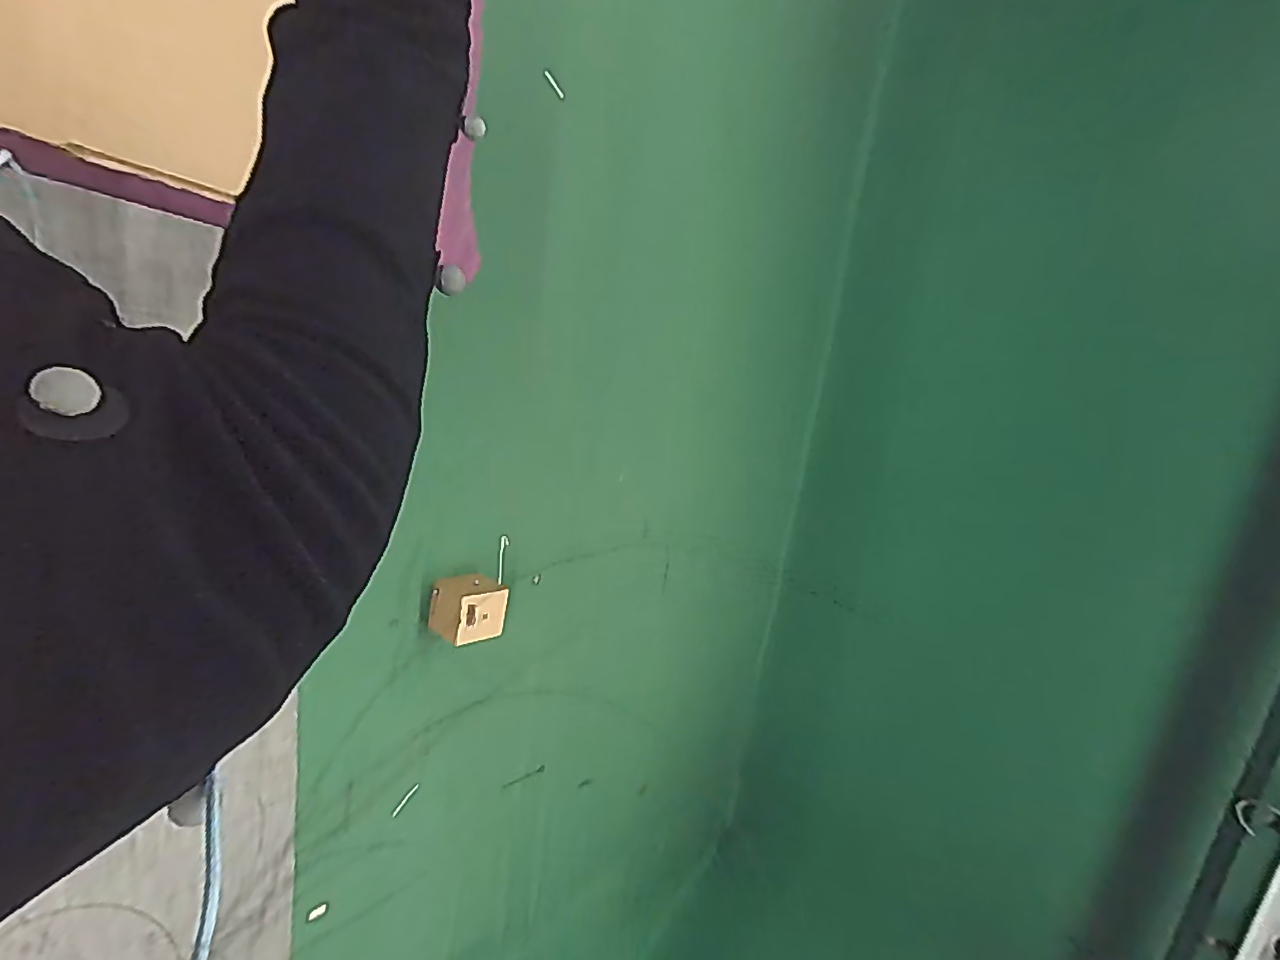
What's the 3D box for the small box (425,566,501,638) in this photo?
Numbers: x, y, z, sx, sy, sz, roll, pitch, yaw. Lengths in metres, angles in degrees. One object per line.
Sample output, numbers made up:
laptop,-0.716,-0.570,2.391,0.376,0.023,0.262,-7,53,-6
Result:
small box,-0.586,0.396,1.782,0.179,0.176,0.168,-4,107,-49
